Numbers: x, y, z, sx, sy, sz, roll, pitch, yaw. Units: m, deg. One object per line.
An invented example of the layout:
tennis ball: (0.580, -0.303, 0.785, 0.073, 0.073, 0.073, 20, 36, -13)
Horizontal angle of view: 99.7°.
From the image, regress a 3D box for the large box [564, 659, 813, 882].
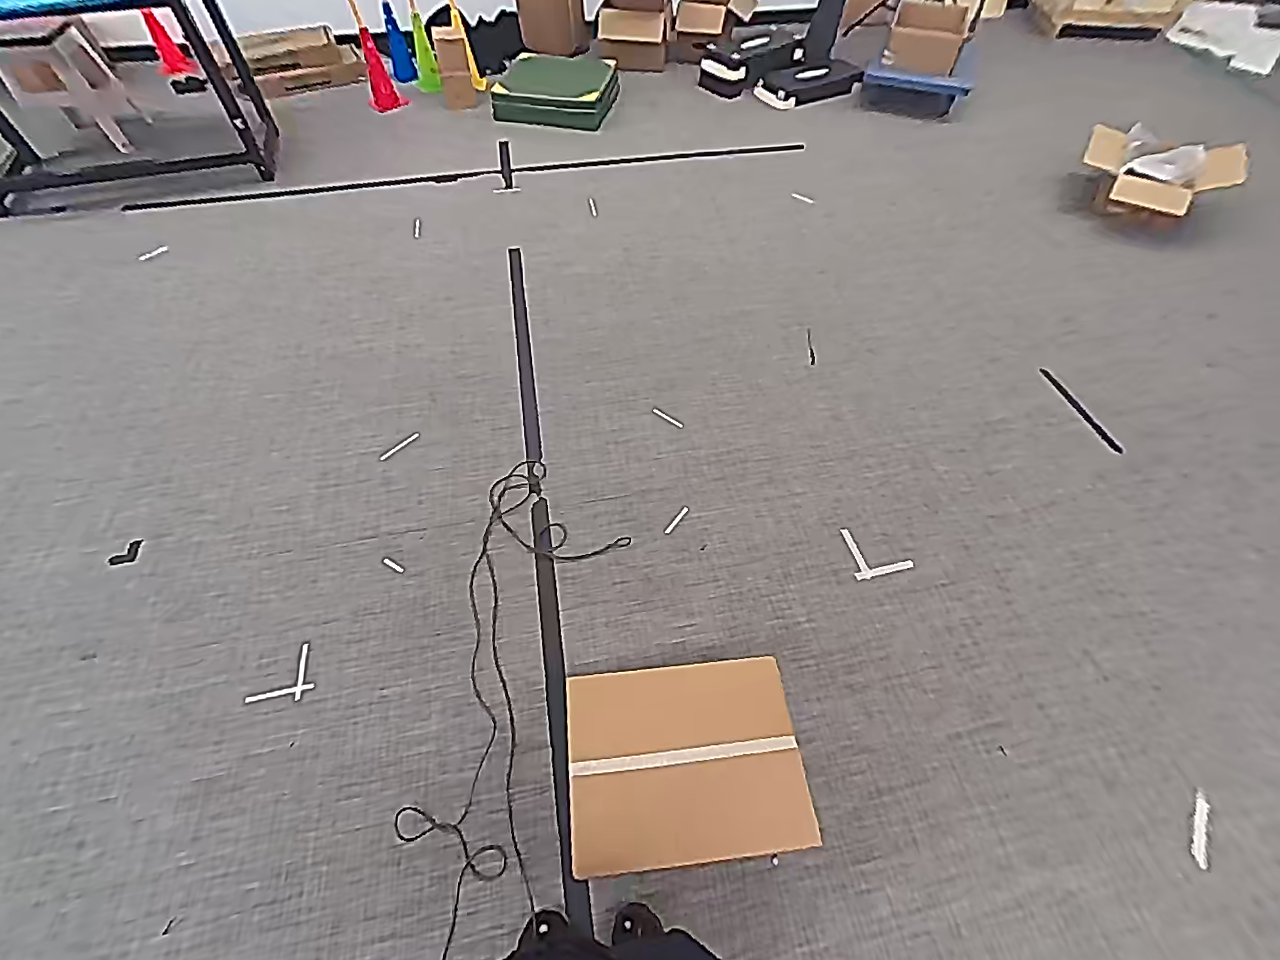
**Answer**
large box: (0.069, 0.575, 1.072, 0.408, 0.320, 0.320, -4, 54, -5)
